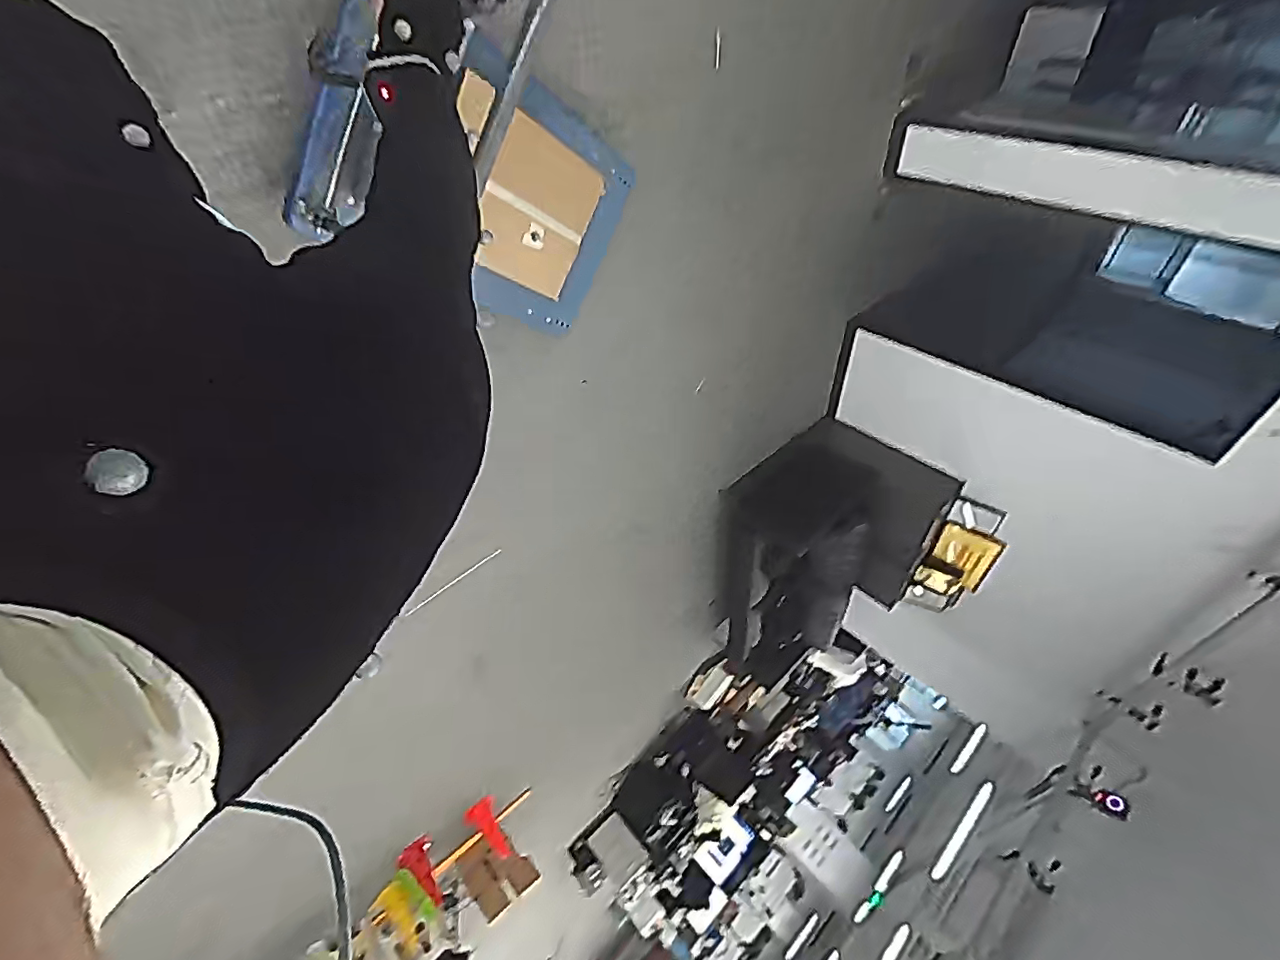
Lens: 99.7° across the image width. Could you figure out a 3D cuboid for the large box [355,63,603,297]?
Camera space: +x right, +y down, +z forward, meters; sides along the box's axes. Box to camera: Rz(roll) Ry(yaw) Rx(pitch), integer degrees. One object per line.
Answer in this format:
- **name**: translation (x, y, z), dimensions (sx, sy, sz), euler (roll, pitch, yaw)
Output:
- **large box**: translation (-0.372, -0.682, 1.266), dimensions (0.408, 0.320, 0.320), euler (6, 116, -54)
